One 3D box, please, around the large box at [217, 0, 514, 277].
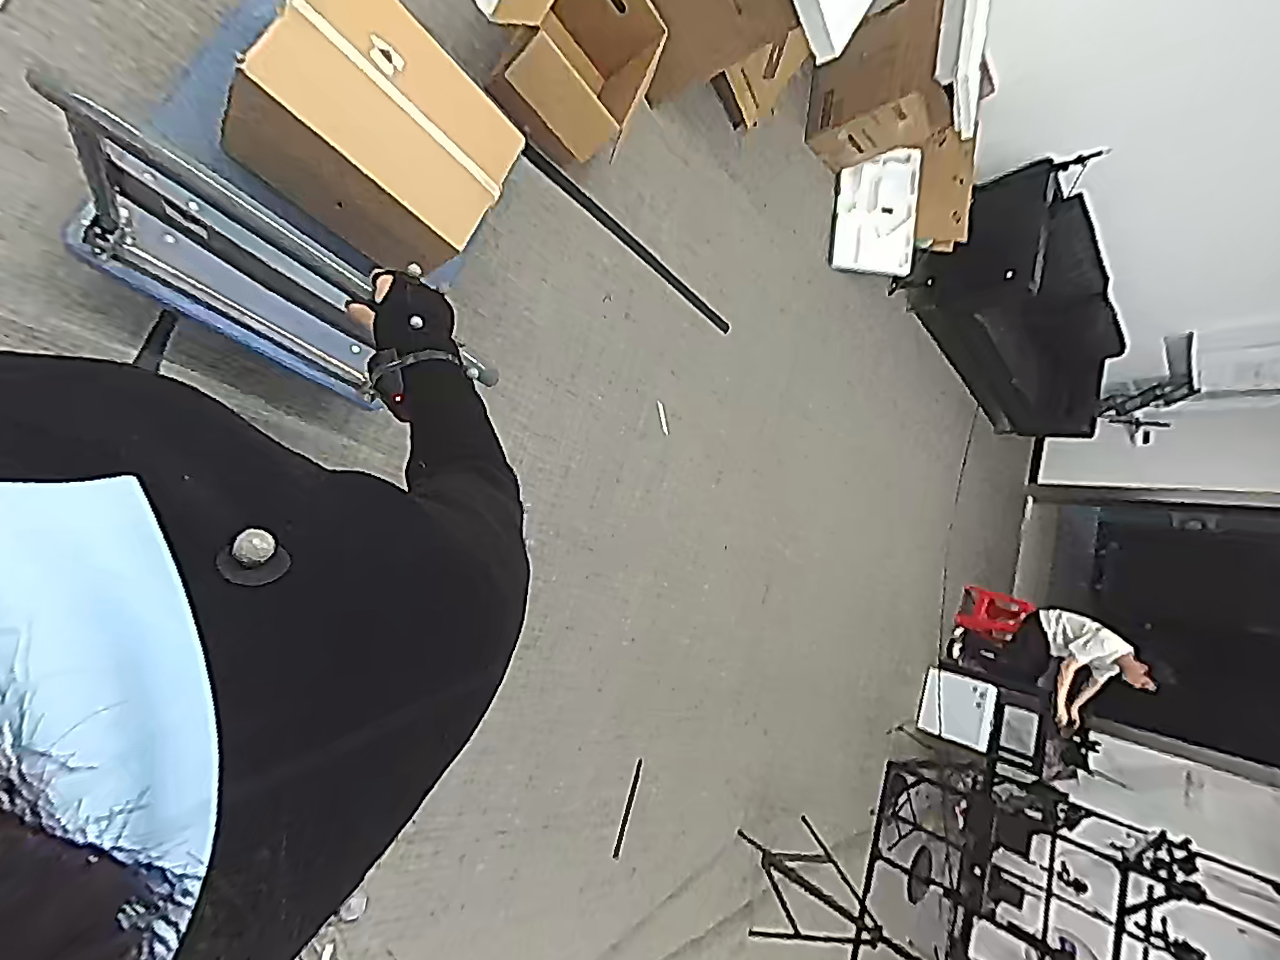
[{"bbox_3d":[-0.547,-0.693,1.102,0.408,0.320,0.320,34,70,-38],"label":"large box"}]
